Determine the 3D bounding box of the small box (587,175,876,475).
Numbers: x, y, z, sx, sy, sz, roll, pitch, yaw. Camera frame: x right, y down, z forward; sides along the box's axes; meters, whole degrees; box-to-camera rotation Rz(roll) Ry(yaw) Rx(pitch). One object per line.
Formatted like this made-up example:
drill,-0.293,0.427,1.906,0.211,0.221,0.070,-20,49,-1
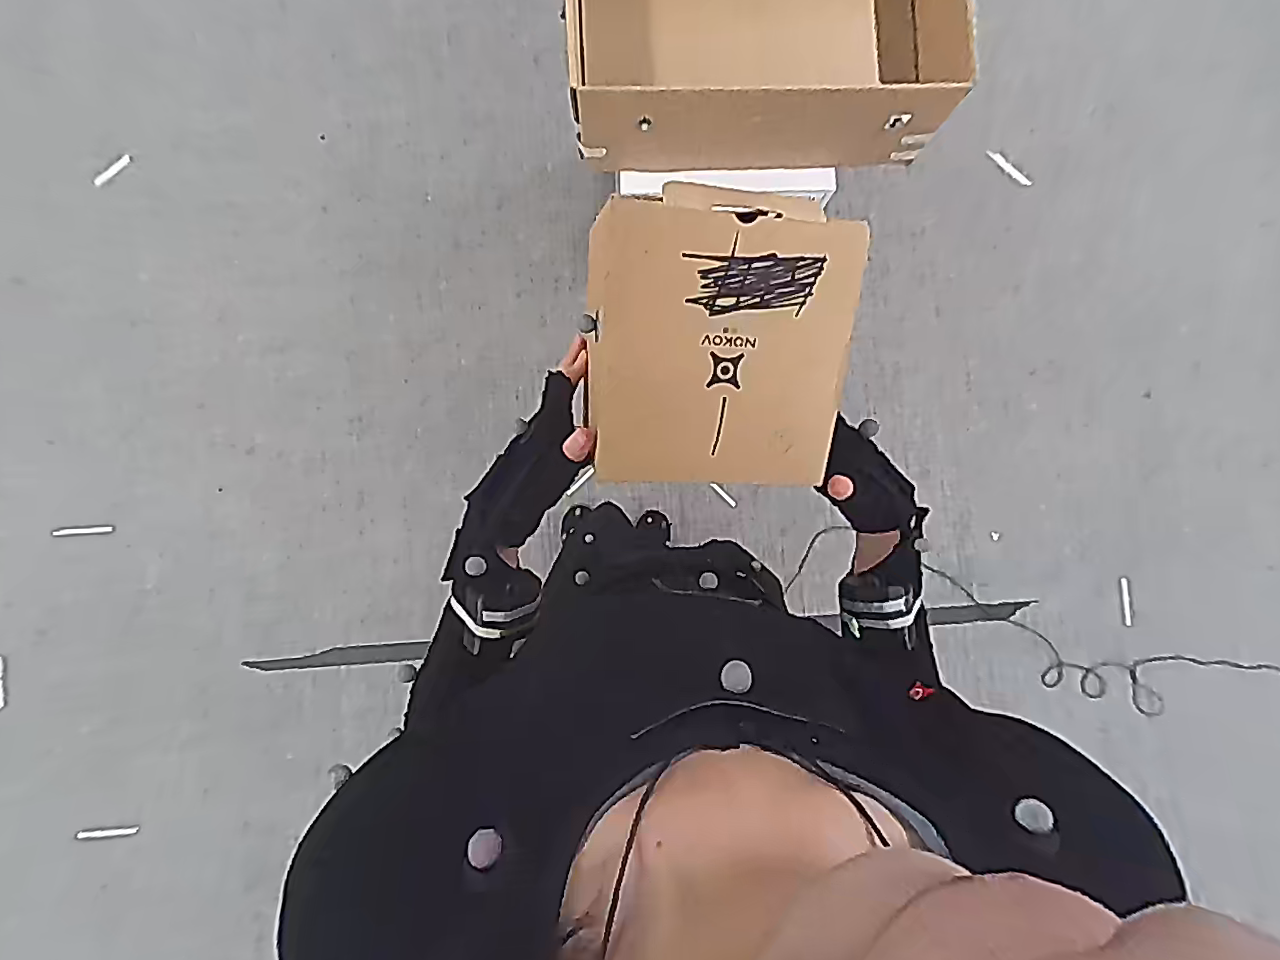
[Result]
small box,0.048,-0.113,0.422,0.168,0.176,0.179,2,108,-10
